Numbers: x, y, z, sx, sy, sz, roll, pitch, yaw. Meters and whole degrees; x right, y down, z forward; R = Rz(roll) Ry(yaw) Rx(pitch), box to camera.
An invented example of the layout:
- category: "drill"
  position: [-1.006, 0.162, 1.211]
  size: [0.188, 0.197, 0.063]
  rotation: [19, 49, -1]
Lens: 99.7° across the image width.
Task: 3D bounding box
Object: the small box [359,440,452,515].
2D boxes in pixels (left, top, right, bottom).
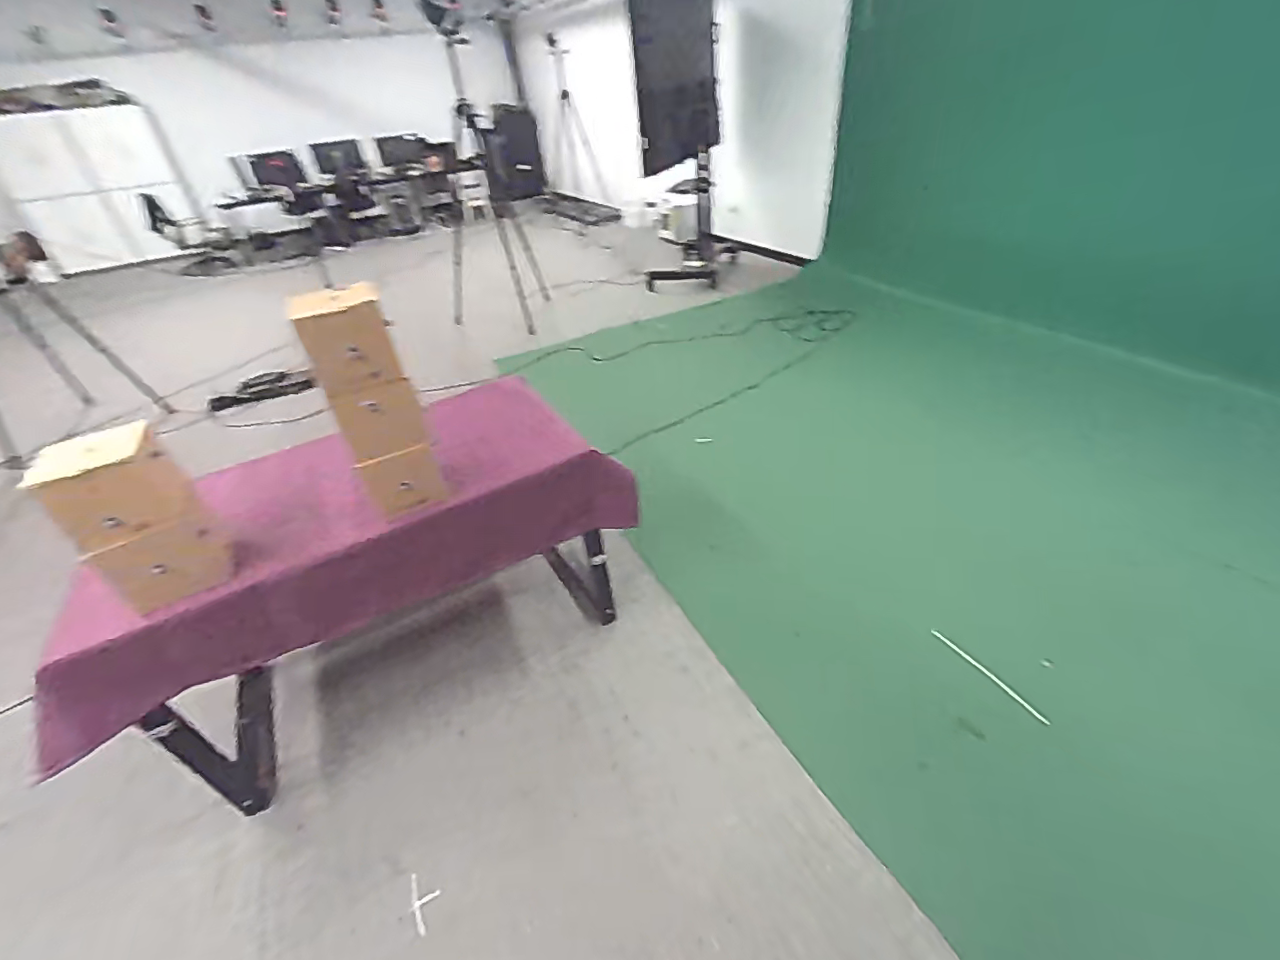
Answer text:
- category: "small box"
  position: [-0.584, -0.032, 1.342]
  size: [0.168, 0.176, 0.179]
  rotation: [-21, 39, -20]

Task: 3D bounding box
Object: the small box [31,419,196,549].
- category: "small box"
  position: [-1.024, 0.006, 1.074]
  size: [0.168, 0.176, 0.179]
  rotation: [-23, 40, -22]

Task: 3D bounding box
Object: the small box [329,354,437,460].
- category: "small box"
  position: [-0.592, -0.169, 1.249]
  size: [0.179, 0.176, 0.168]
  rotation: [-20, 39, -19]

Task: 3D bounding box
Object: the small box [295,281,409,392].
- category: "small box"
  position: [-0.612, -0.304, 1.158]
  size: [0.168, 0.176, 0.179]
  rotation: [-21, 40, -19]
